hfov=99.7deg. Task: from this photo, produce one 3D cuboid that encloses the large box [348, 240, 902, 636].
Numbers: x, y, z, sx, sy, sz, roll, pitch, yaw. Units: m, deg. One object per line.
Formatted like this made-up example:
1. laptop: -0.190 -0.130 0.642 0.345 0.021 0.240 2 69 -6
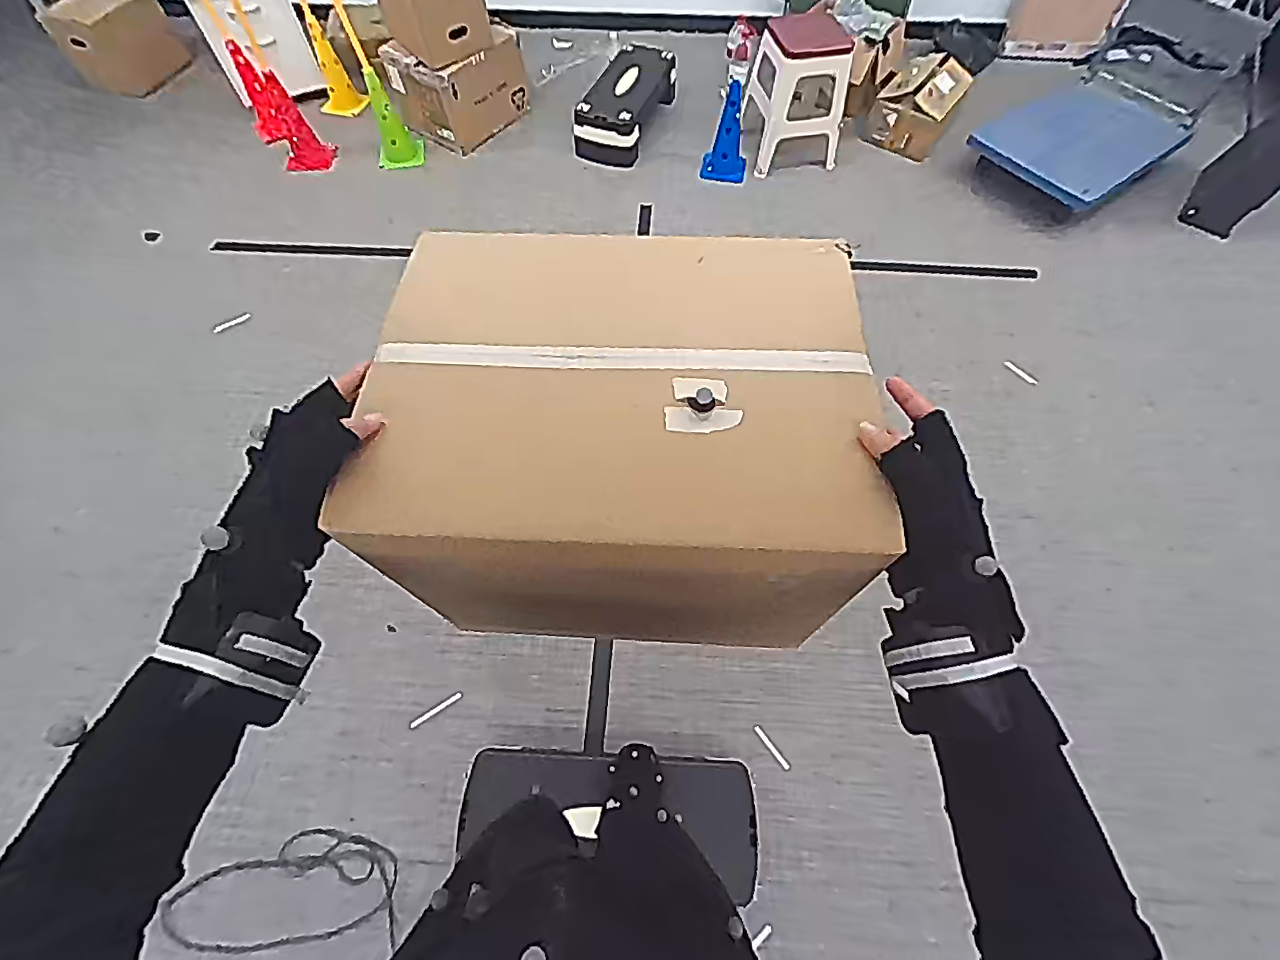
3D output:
1. large box: -0.008 -0.024 0.582 0.408 0.320 0.320 2 62 2
